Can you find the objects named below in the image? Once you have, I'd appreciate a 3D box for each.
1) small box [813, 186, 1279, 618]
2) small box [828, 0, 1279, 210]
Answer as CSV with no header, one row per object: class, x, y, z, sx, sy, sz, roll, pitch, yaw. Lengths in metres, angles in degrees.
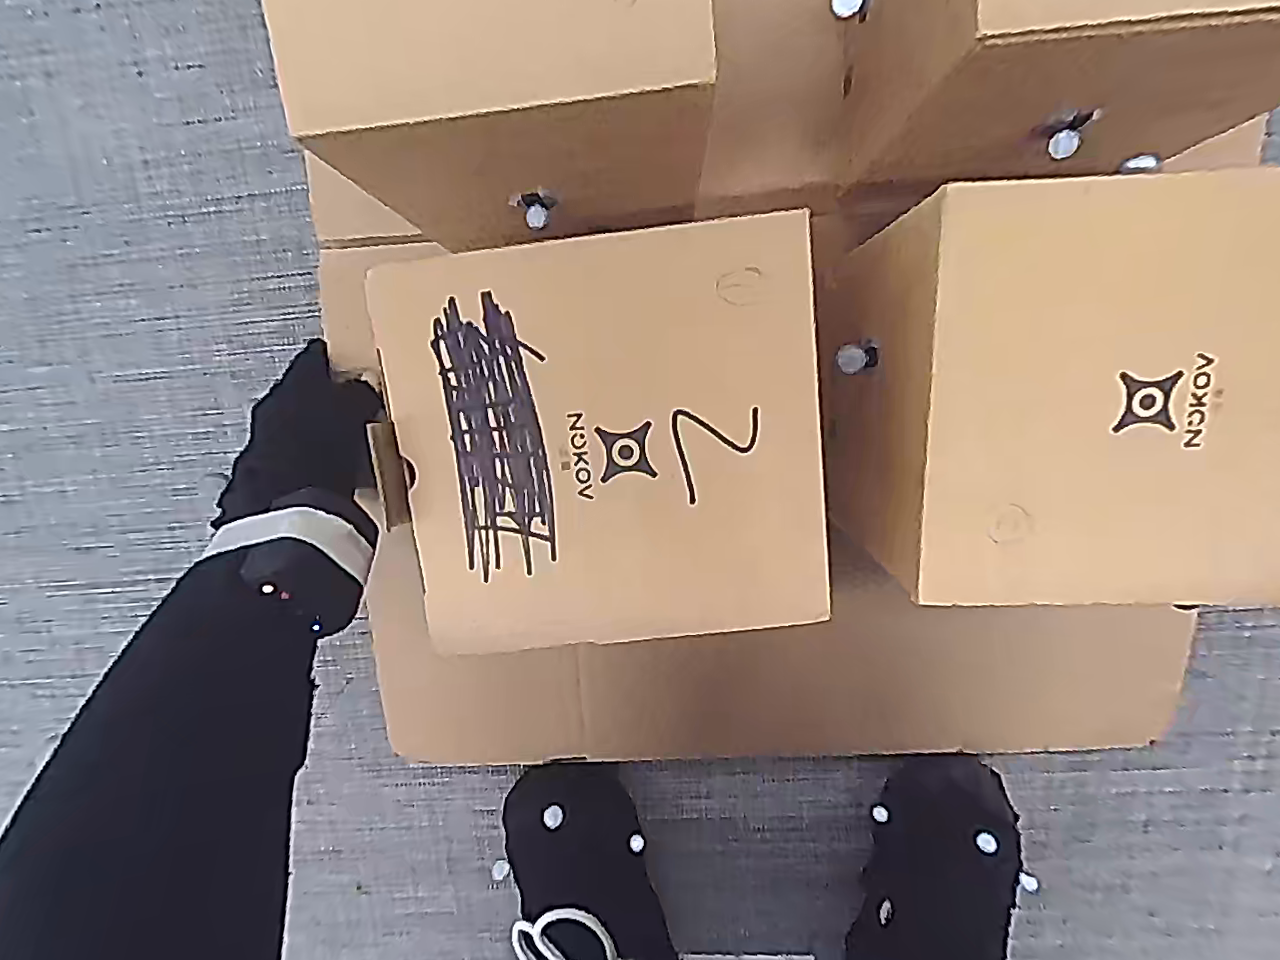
small box,0.199,-0.038,0.287,0.179,0.176,0.168,-1,101,3
small box,0.203,-0.244,0.256,0.179,0.176,0.168,-1,98,5
